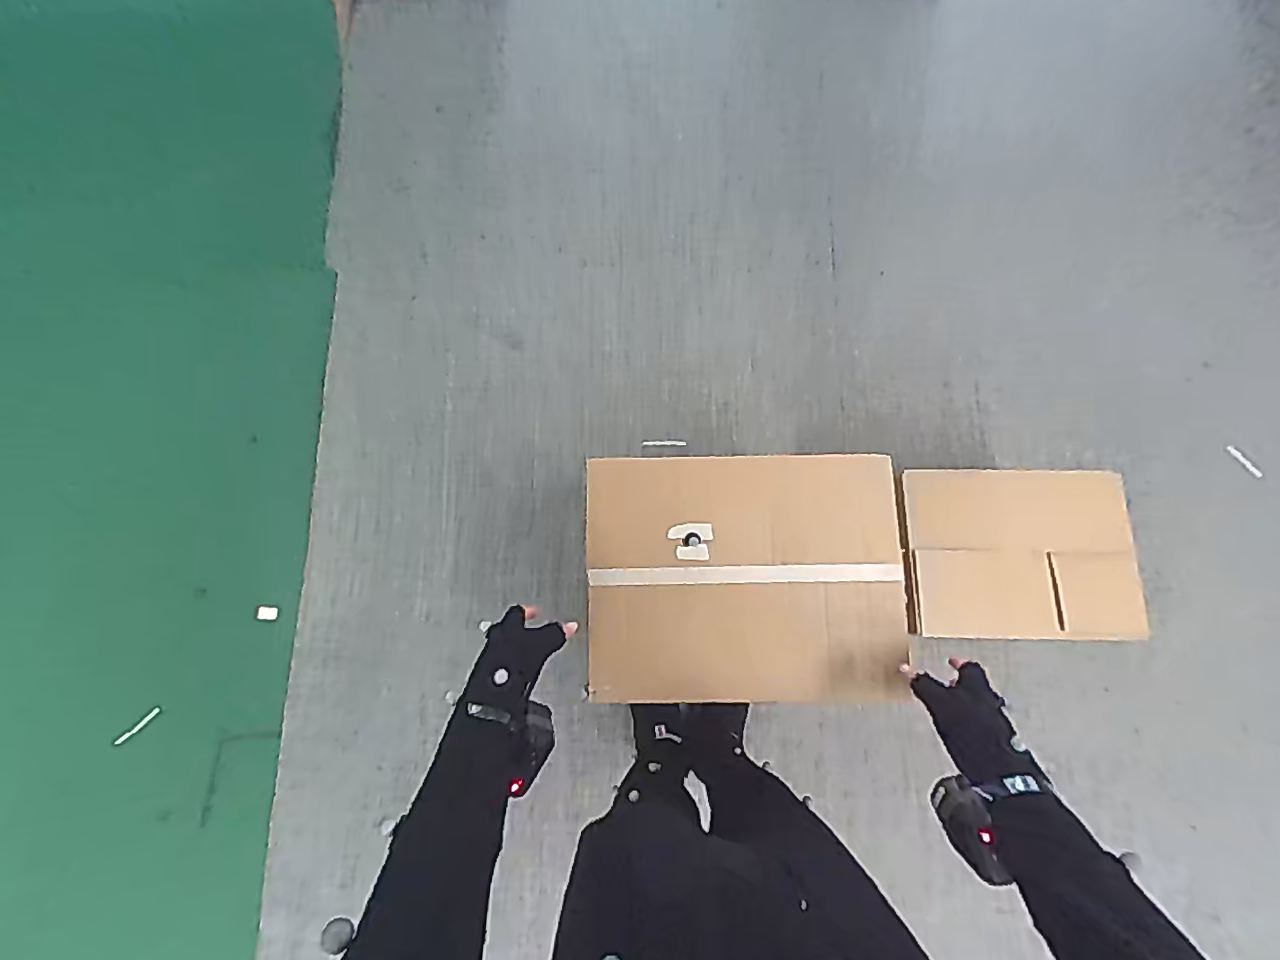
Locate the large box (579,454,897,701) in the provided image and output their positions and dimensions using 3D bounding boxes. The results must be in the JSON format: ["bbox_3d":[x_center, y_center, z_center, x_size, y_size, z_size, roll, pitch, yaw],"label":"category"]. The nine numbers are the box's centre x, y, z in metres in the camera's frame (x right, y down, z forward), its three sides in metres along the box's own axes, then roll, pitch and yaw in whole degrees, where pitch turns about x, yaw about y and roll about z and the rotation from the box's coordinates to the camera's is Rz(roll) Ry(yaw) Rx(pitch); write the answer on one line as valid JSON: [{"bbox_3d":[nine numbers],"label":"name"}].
[{"bbox_3d":[0.127,0.142,0.845,0.408,0.320,0.320,-1,81,2],"label":"large box"}]
